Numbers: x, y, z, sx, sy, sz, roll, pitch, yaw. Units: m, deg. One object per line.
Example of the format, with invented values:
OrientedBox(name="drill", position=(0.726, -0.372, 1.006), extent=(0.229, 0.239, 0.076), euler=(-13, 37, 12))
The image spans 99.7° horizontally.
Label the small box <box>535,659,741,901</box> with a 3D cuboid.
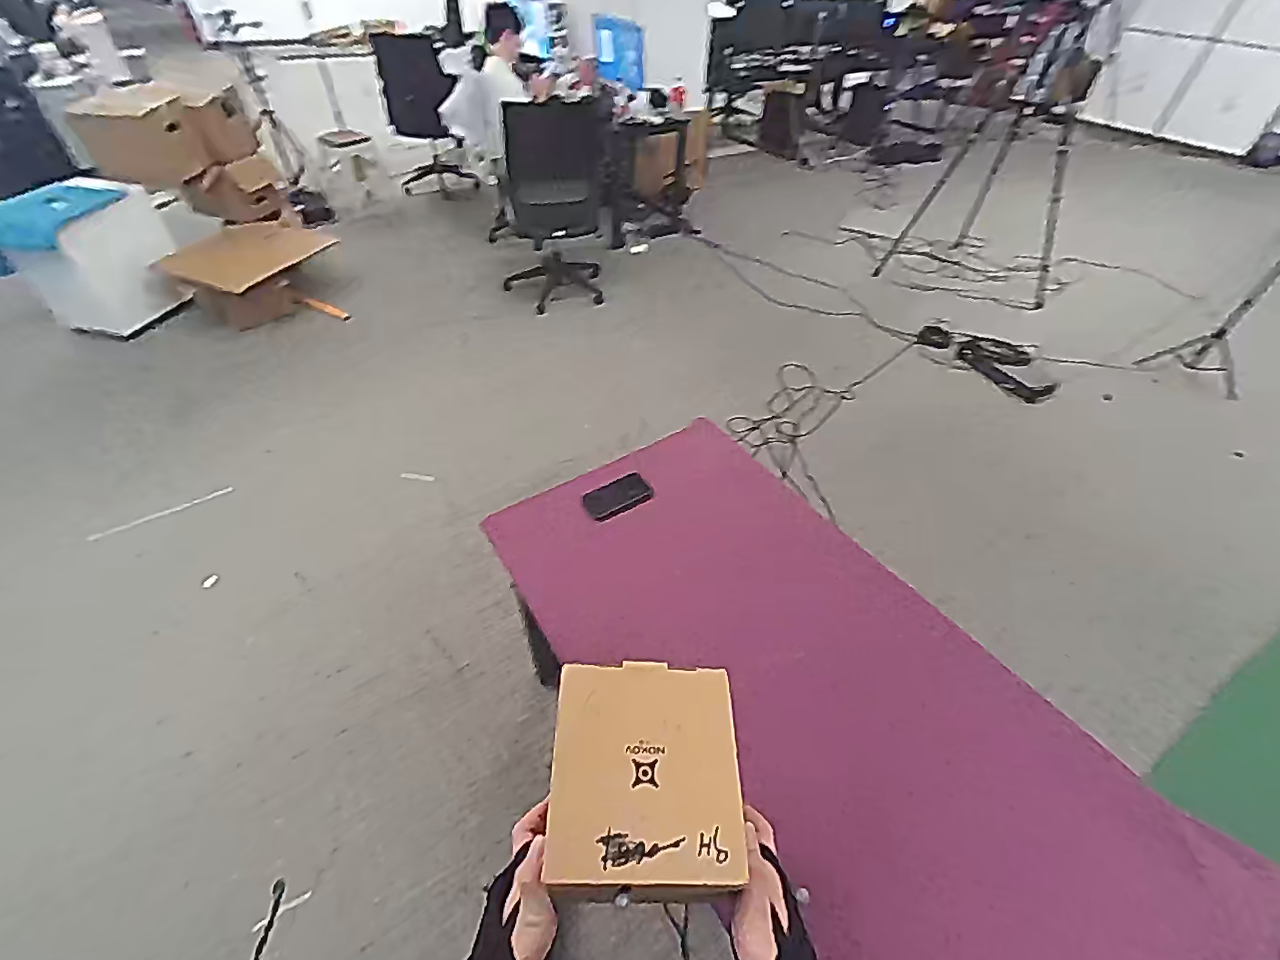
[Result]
OrientedBox(name="small box", position=(-0.006, 0.298, 0.536), extent=(0.168, 0.176, 0.179), euler=(2, 48, -3))
